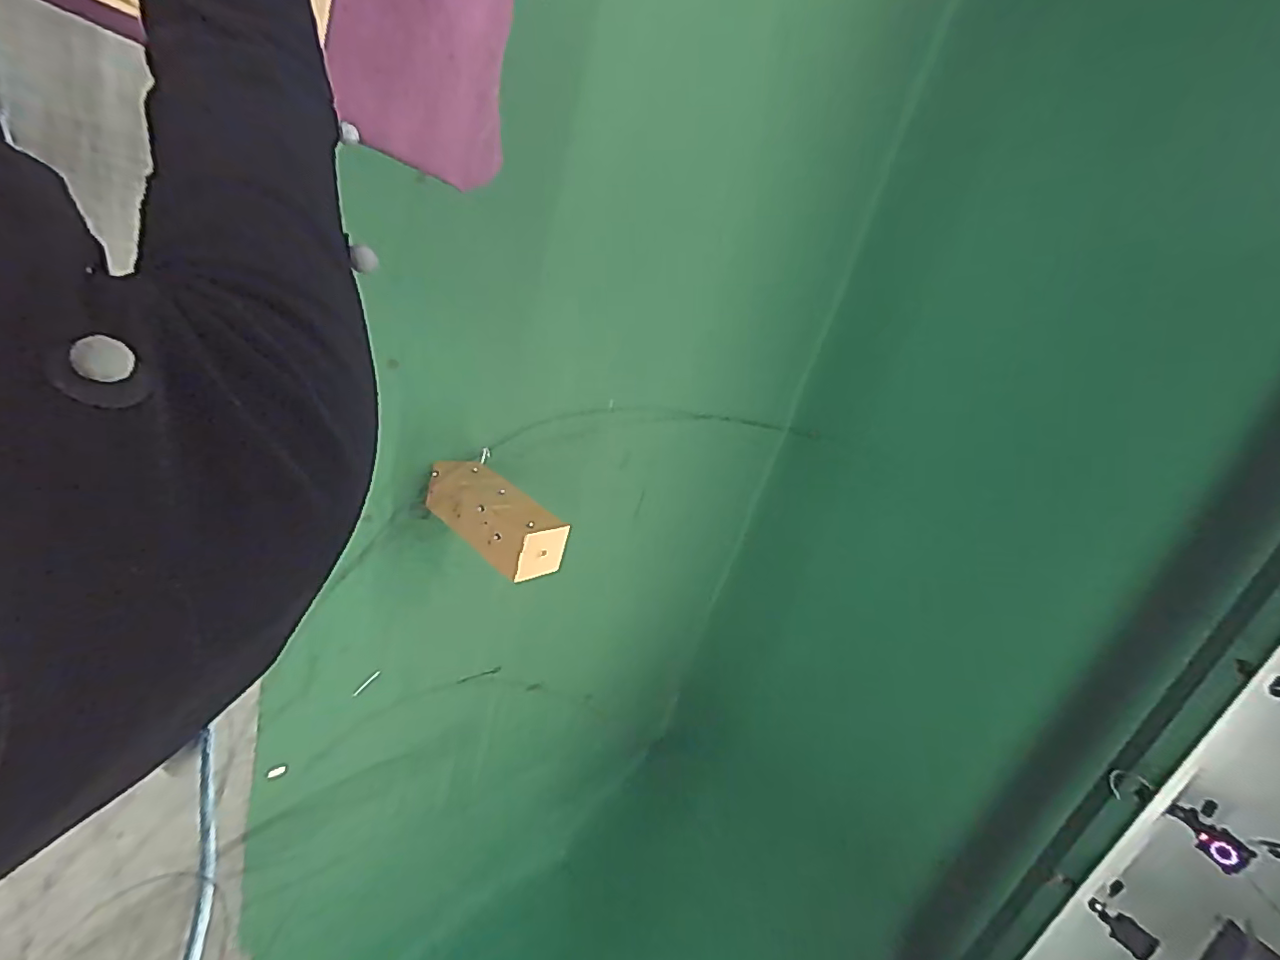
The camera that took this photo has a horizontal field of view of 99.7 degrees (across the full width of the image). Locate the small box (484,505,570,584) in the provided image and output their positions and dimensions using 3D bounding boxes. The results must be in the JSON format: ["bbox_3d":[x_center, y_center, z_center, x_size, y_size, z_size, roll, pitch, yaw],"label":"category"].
[{"bbox_3d":[-0.348,0.189,1.659,0.179,0.176,0.168,-8,121,-51],"label":"small box"}]

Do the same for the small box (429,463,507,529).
[{"bbox_3d":[-0.587,0.049,1.834,0.179,0.176,0.168,-4,118,-52],"label":"small box"}]
